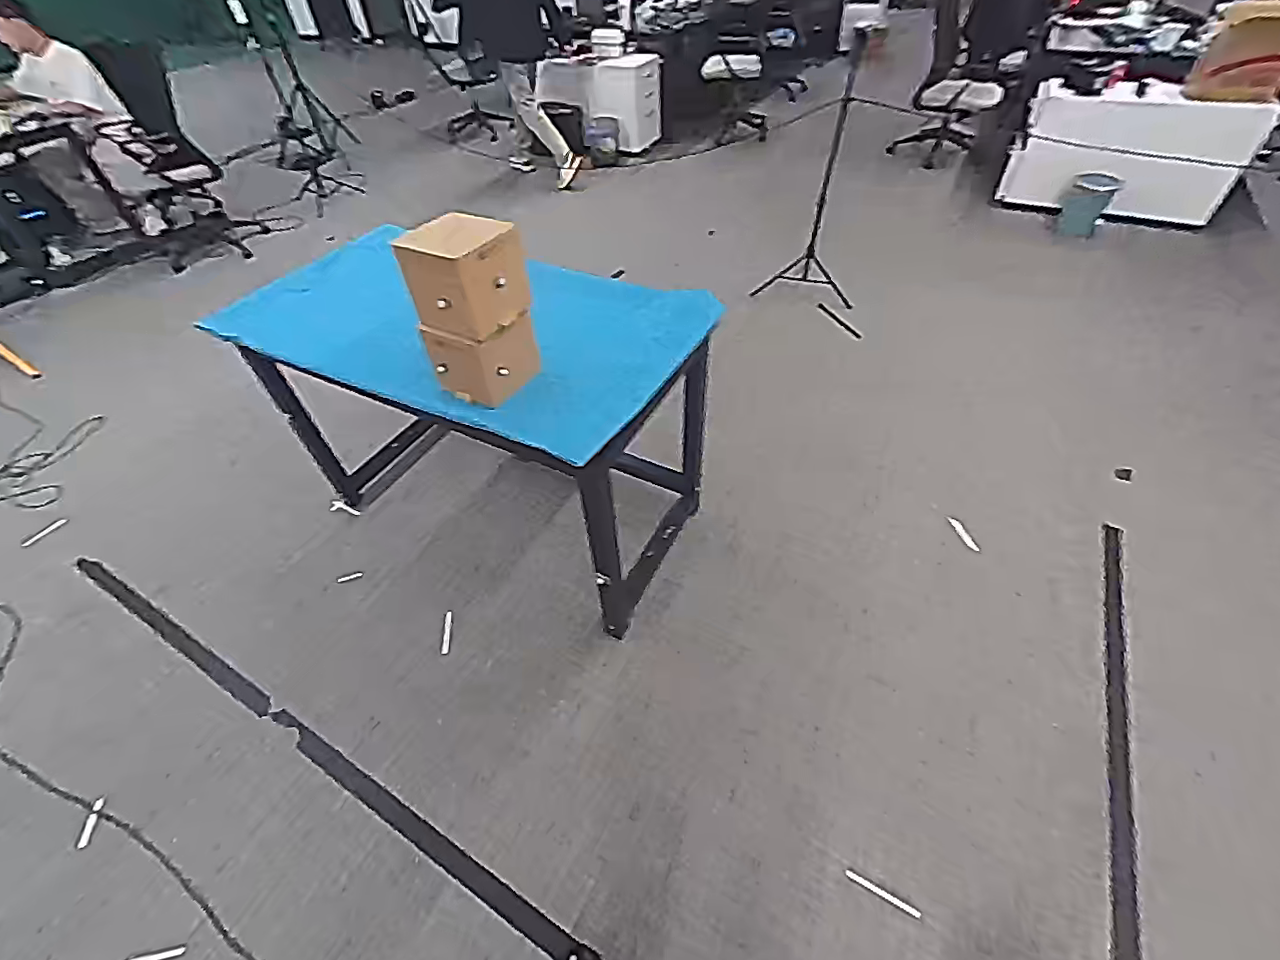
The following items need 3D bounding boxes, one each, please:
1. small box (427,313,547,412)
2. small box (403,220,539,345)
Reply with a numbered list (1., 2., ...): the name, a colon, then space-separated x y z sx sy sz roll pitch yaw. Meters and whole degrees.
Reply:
1. small box: -0.334 -0.283 1.192 0.168 0.176 0.179 21 51 21
2. small box: -0.333 -0.397 1.074 0.179 0.176 0.168 20 50 24
